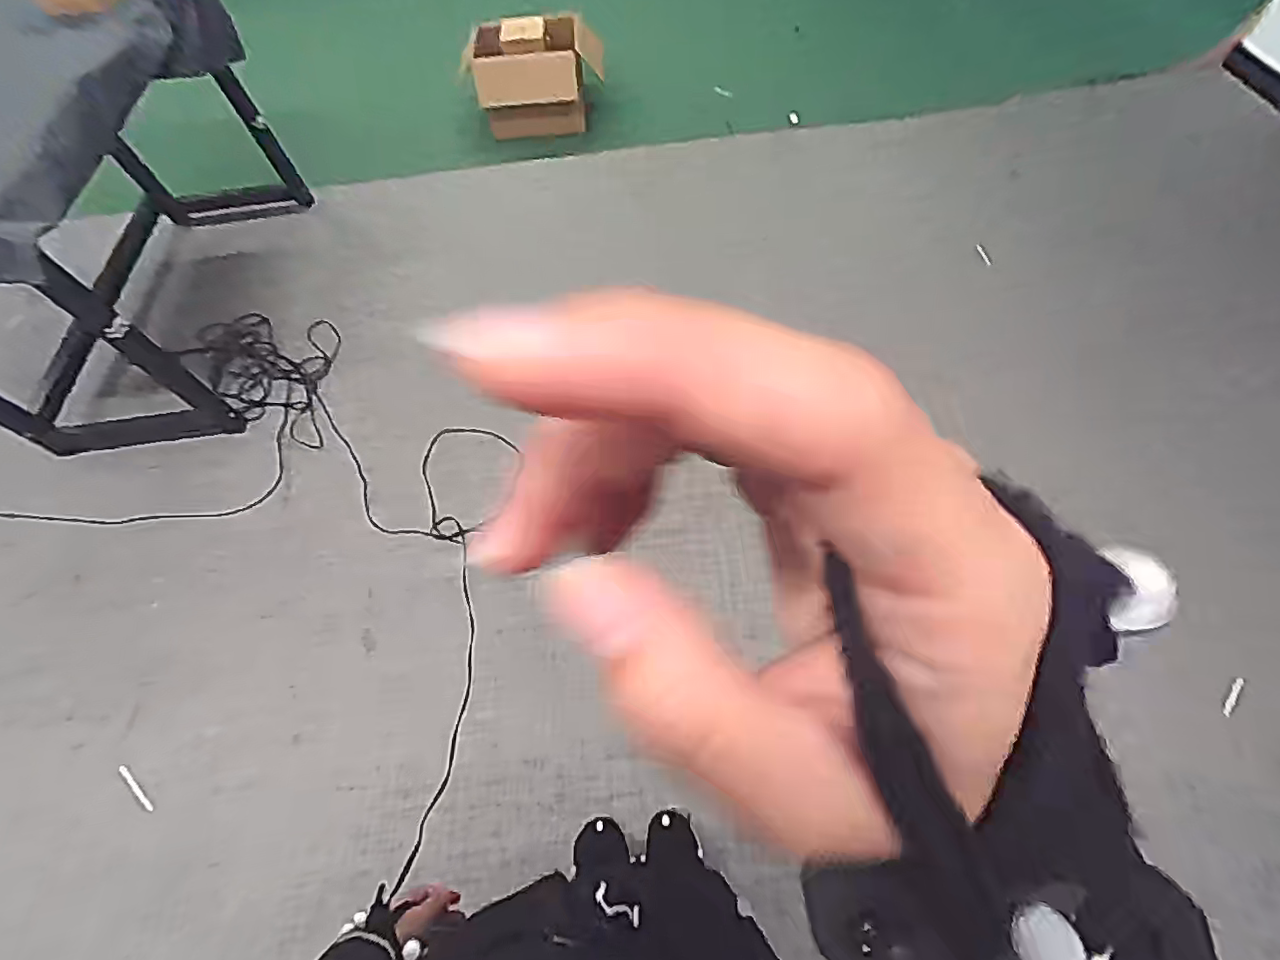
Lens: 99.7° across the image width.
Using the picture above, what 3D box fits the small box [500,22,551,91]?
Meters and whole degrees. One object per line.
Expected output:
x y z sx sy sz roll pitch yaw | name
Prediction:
-0.455 -1.702 2.176 0.168 0.176 0.179 -3 60 1 | small box
